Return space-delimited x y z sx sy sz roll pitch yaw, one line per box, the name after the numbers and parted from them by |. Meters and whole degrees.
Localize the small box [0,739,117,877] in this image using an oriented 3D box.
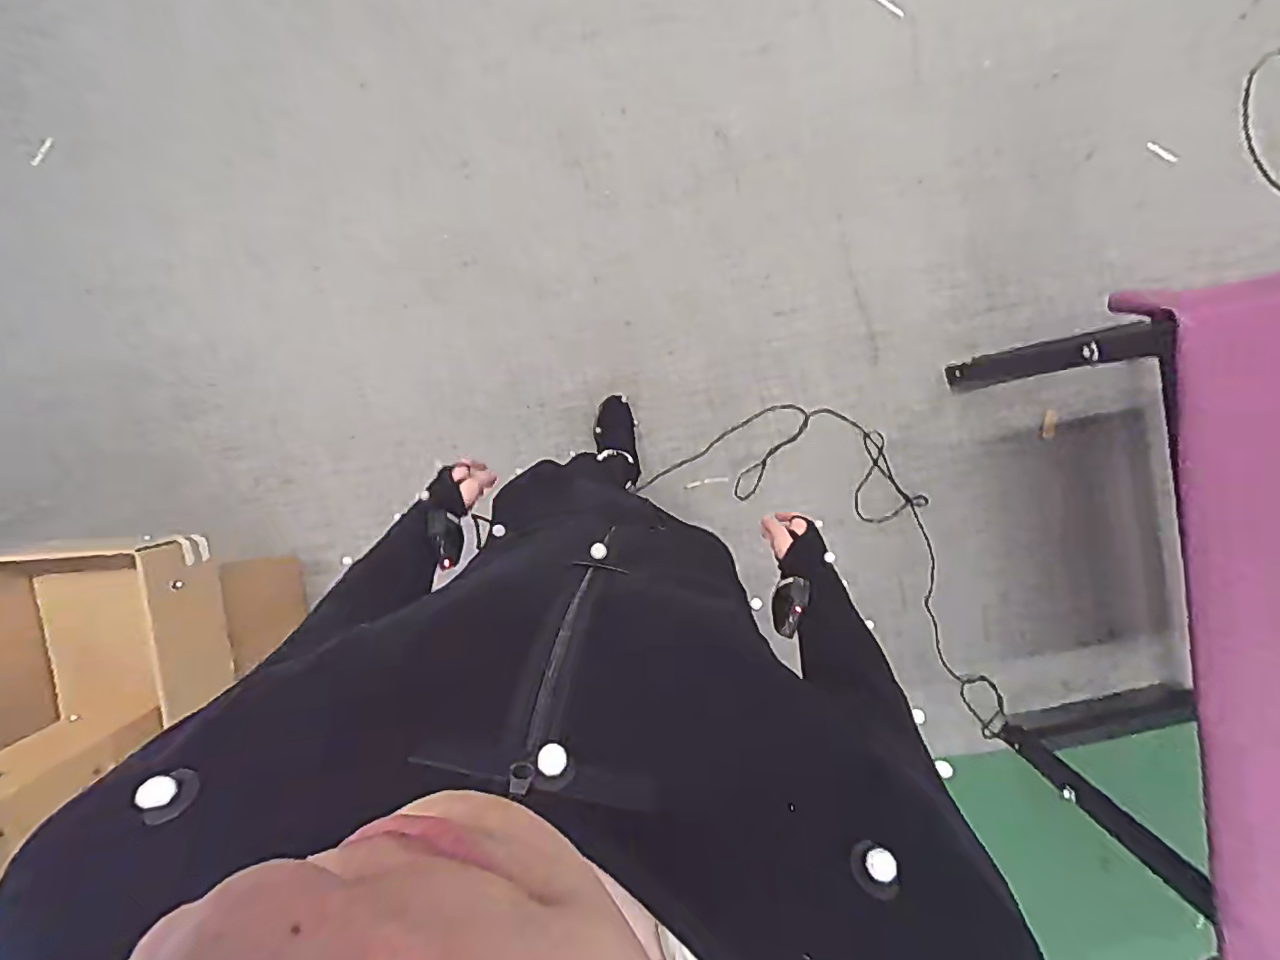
-1.174 0.620 1.036 0.179 0.176 0.168 -2 97 0 | small box

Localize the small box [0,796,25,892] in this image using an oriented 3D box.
-1.178 0.641 0.872 0.179 0.176 0.168 -1 98 0 | small box
